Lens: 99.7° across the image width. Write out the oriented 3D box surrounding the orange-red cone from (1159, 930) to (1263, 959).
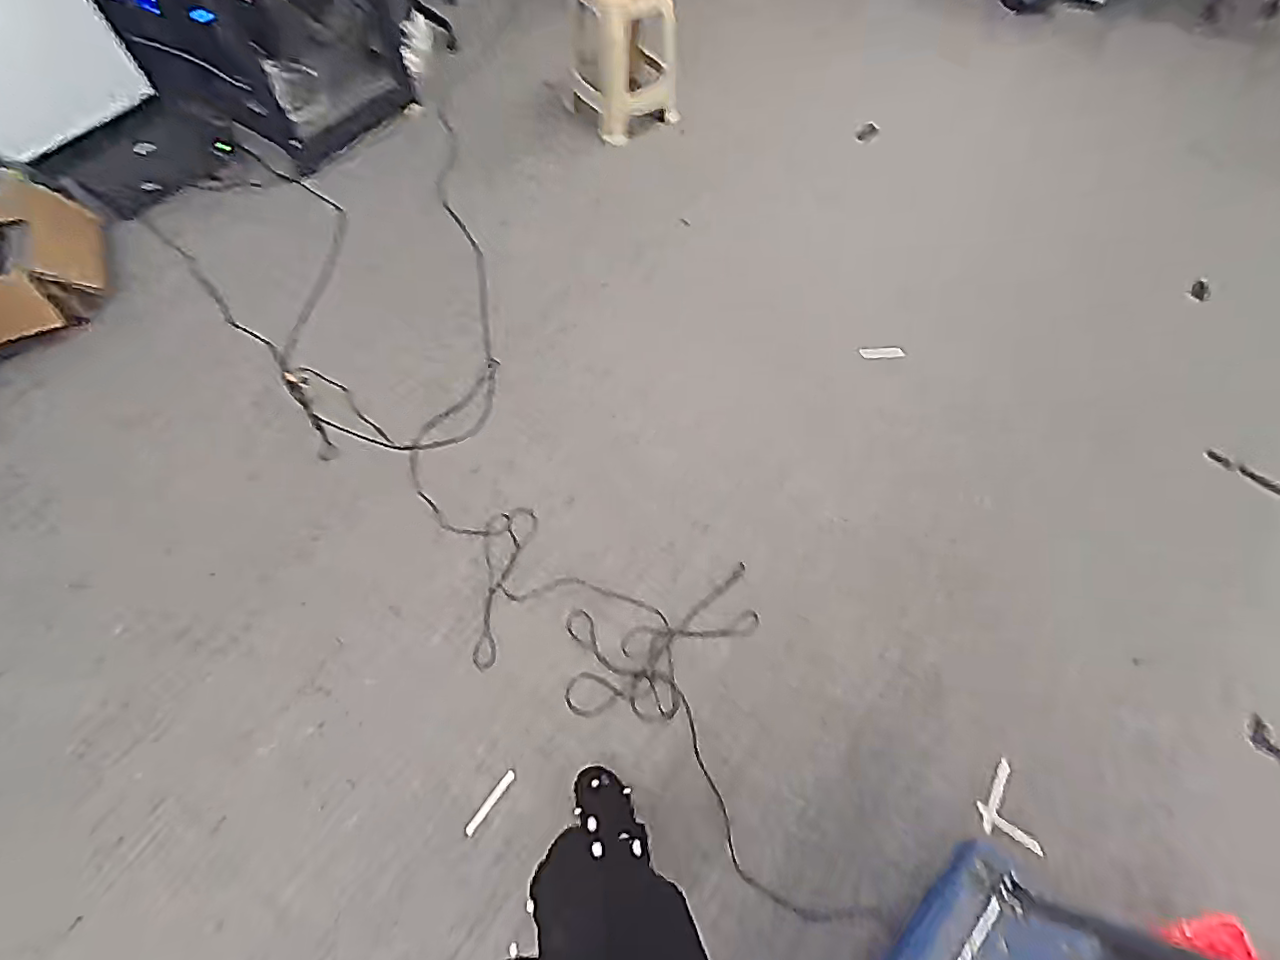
[{"bbox_3d":[1.102,0.897,0.850,0.198,0.360,0.199,-7,65,-4],"label":"orange-red cone"}]
